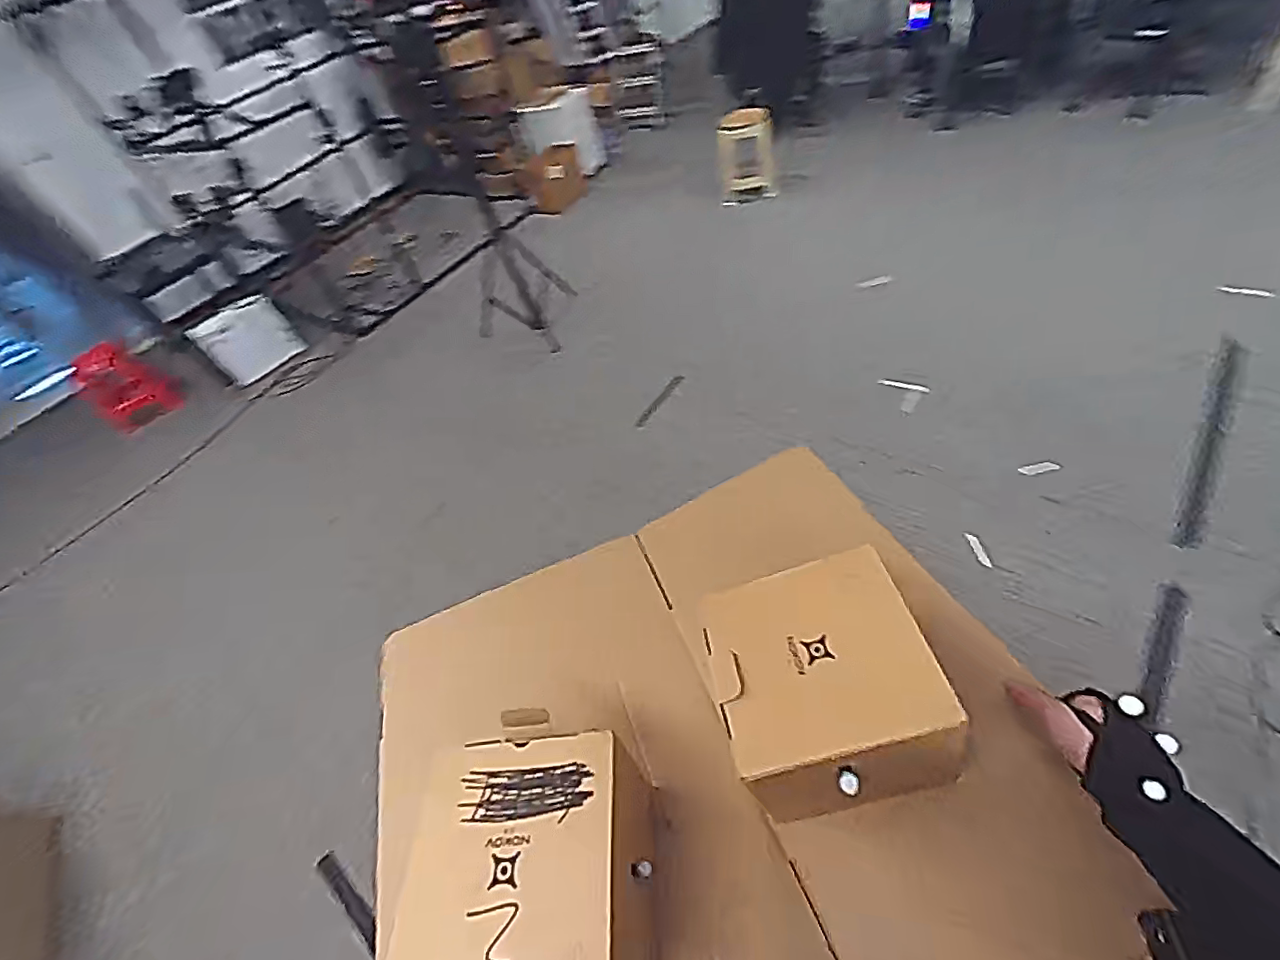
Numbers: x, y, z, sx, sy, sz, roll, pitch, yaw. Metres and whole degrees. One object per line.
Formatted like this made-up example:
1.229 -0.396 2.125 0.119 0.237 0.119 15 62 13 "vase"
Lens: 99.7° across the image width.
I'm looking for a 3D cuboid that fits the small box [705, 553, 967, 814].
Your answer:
0.181 0.202 0.524 0.179 0.176 0.168 -20 45 11 "small box"
